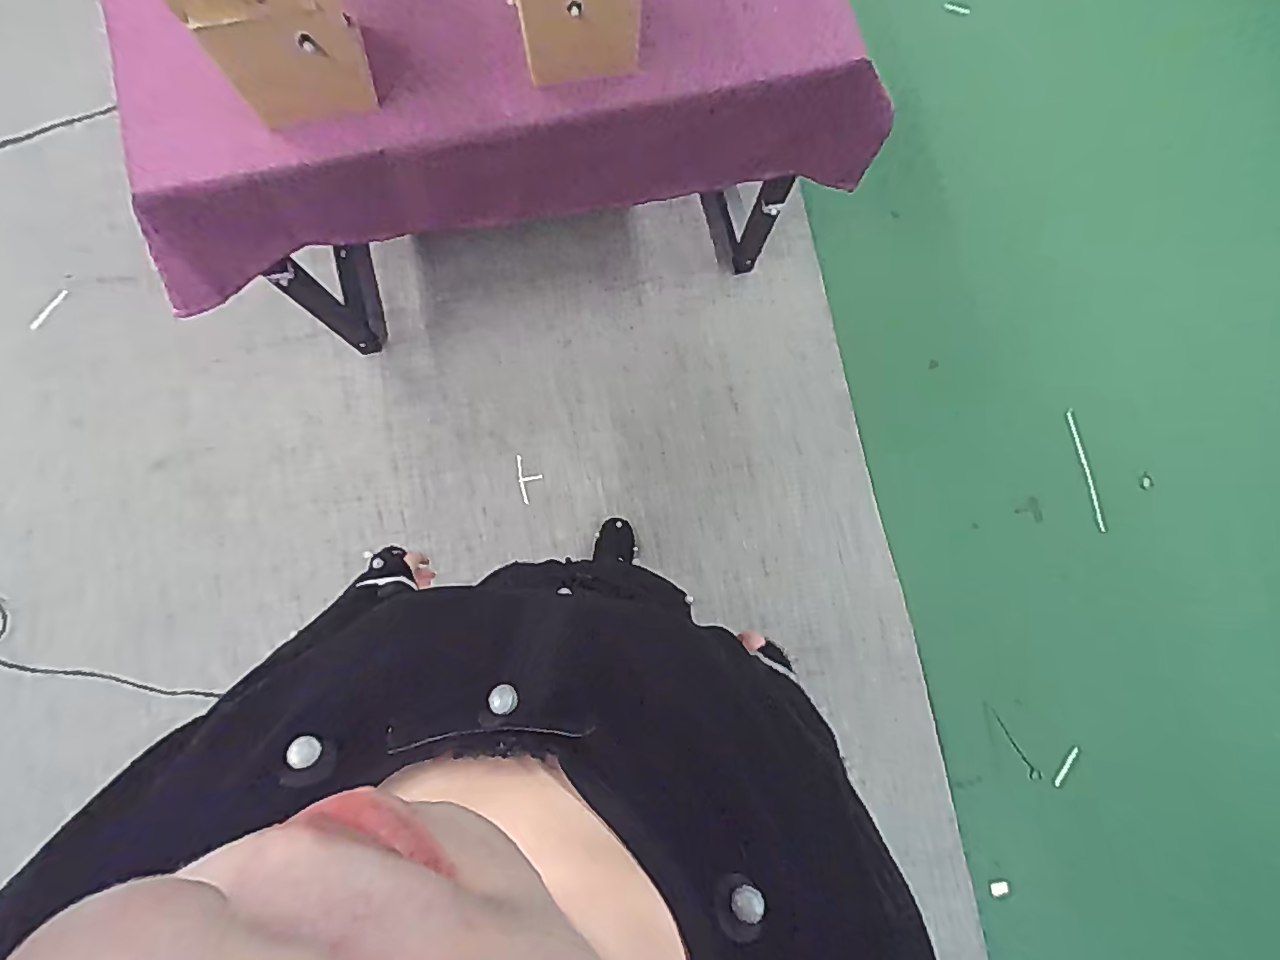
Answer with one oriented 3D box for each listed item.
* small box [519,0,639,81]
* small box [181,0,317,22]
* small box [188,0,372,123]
[{"bbox_3d":[-0.099,-0.747,0.819,0.179,0.176,0.168,-11,83,-5],"label":"small box"},{"bbox_3d":[-0.507,-0.690,0.623,0.168,0.176,0.179,-14,84,-5],"label":"small box"},{"bbox_3d":[-0.513,-0.663,0.784,0.179,0.176,0.168,-14,83,-5],"label":"small box"}]
